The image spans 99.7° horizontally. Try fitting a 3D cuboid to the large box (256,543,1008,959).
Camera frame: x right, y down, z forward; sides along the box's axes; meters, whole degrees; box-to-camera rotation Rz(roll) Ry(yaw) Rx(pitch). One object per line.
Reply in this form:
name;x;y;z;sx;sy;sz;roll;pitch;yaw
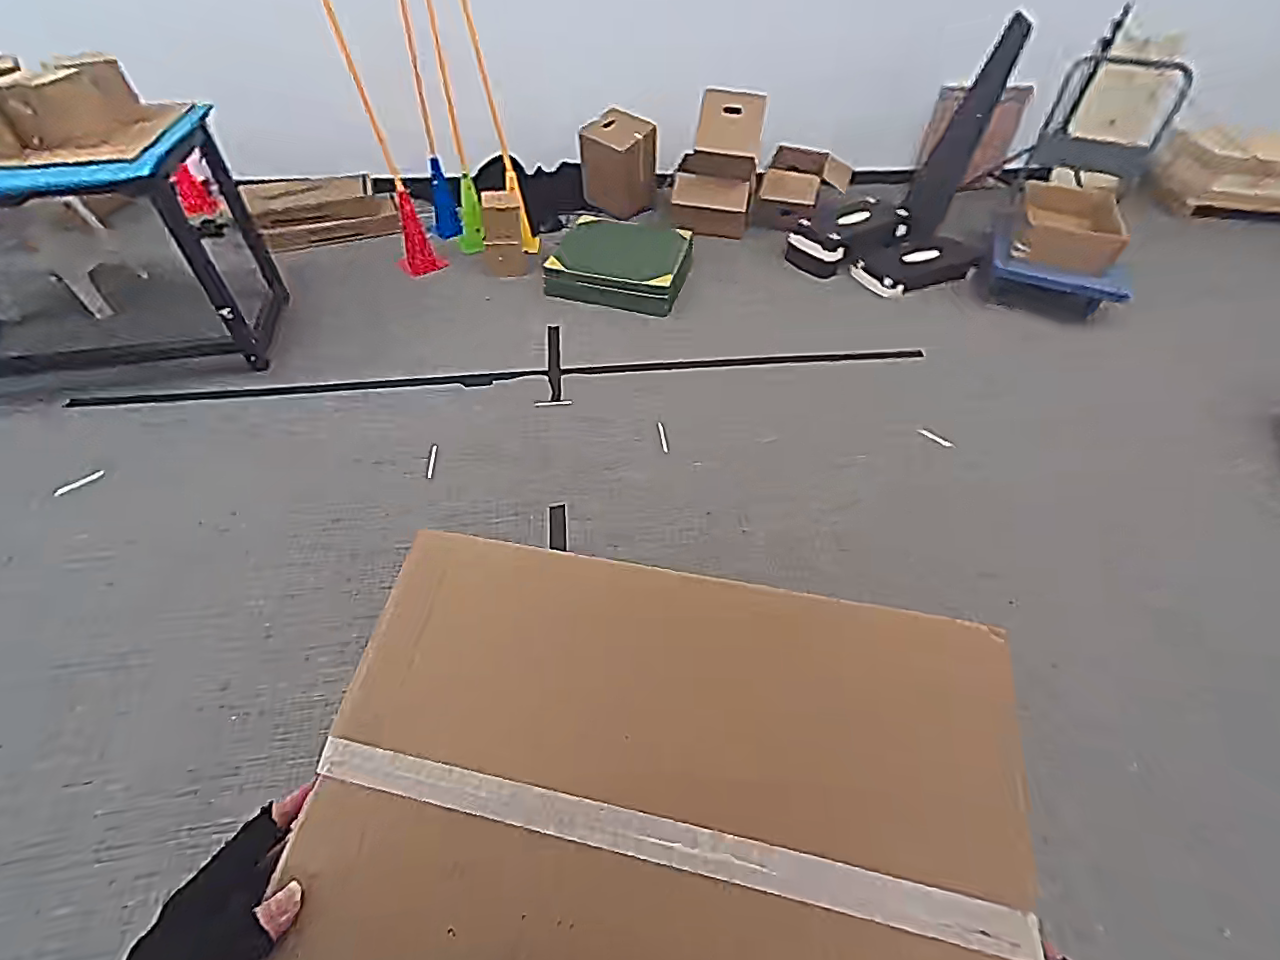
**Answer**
large box;0.011;0.275;0.447;0.408;0.320;0.320;8;63;11
